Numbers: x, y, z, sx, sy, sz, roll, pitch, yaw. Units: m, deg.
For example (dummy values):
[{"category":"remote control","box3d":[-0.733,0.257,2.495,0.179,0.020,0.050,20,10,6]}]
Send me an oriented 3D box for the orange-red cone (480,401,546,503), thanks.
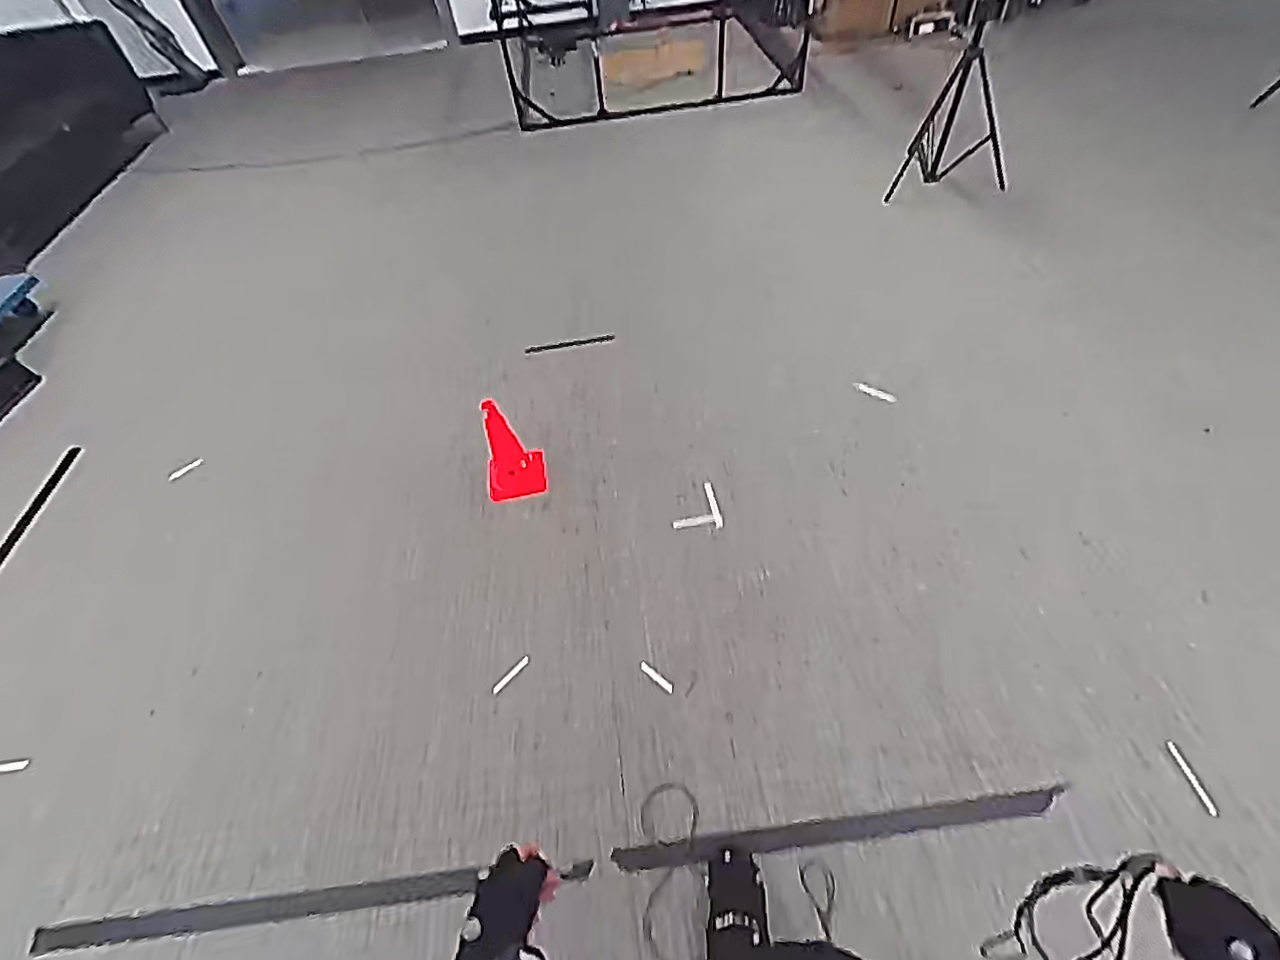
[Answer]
[{"category":"orange-red cone","box3d":[-0.447,-0.113,1.752,0.199,0.360,0.198,-13,51,-2]}]
